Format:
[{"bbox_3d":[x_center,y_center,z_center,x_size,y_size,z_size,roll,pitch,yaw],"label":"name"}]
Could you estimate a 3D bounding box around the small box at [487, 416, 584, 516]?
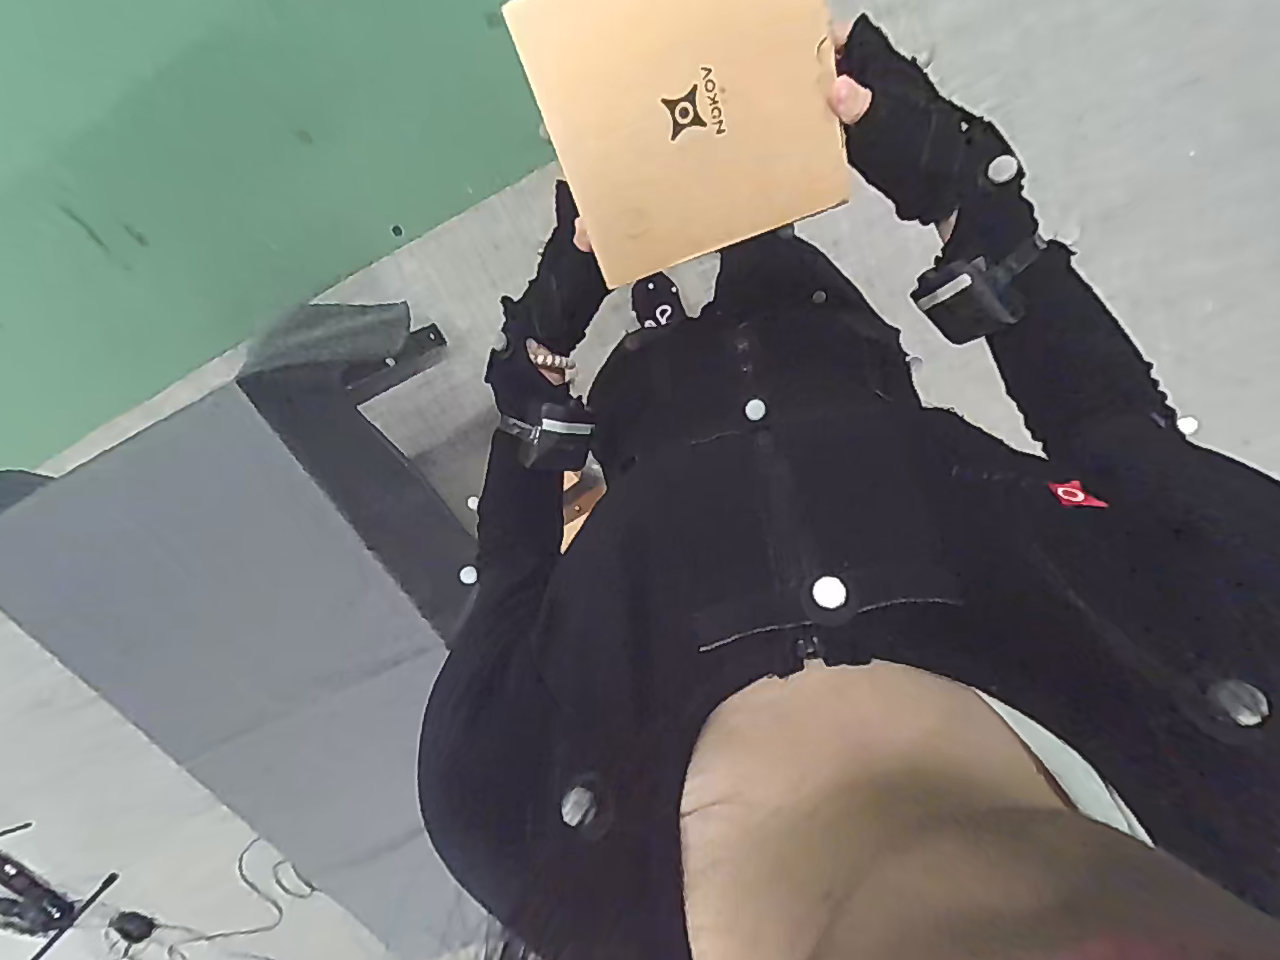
[{"bbox_3d":[-0.269,-0.042,1.439,0.179,0.176,0.168,-35,109,16],"label":"small box"}]
